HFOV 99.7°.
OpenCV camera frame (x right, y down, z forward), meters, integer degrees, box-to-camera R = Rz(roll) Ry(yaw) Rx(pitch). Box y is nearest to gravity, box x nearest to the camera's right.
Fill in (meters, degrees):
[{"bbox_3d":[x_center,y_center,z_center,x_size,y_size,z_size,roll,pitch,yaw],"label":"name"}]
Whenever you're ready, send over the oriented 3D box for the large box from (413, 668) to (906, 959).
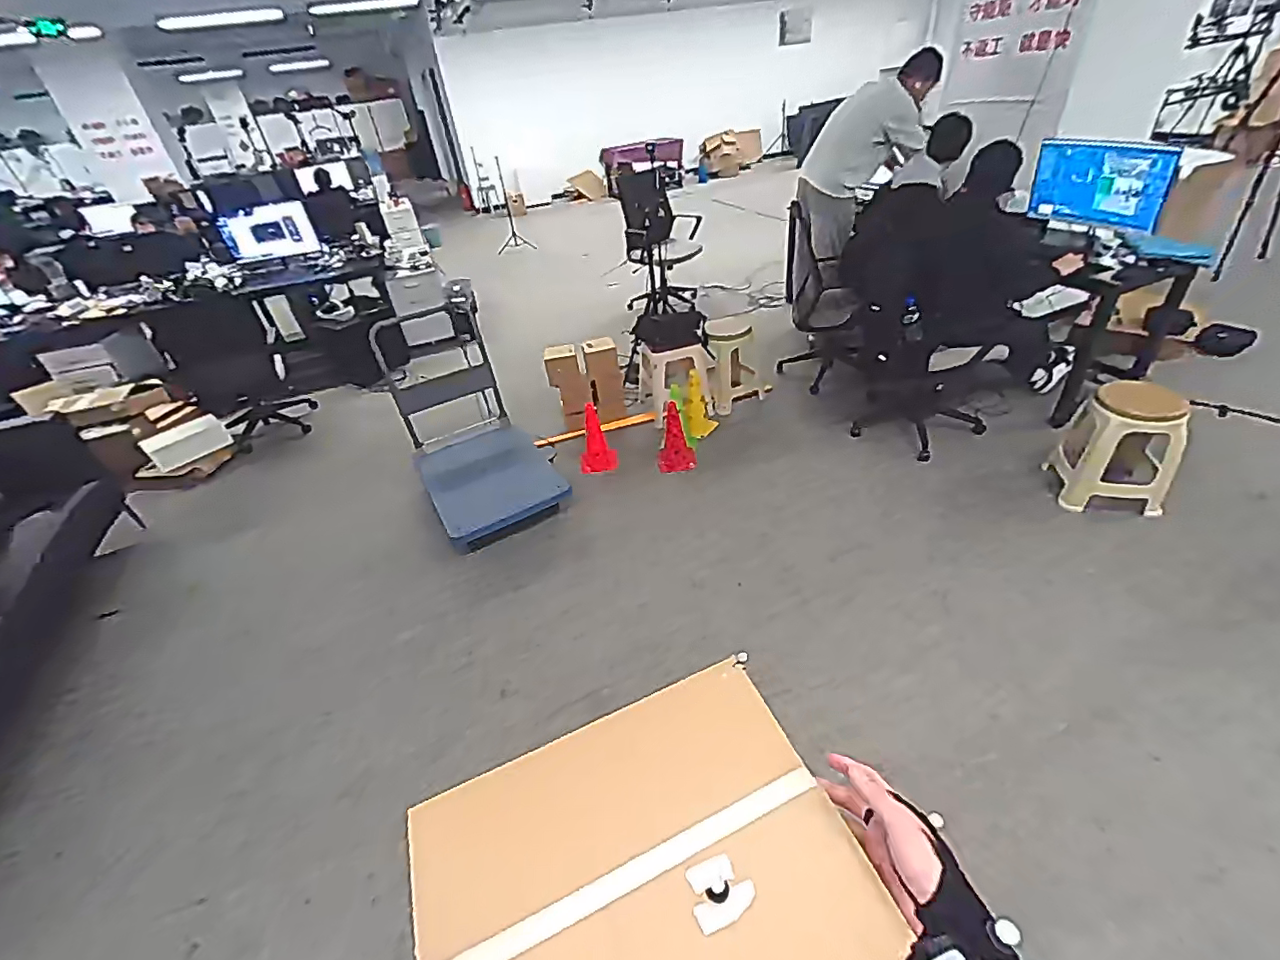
[{"bbox_3d":[0.009,0.502,0.619,0.408,0.320,0.320,-21,42,-14],"label":"large box"}]
